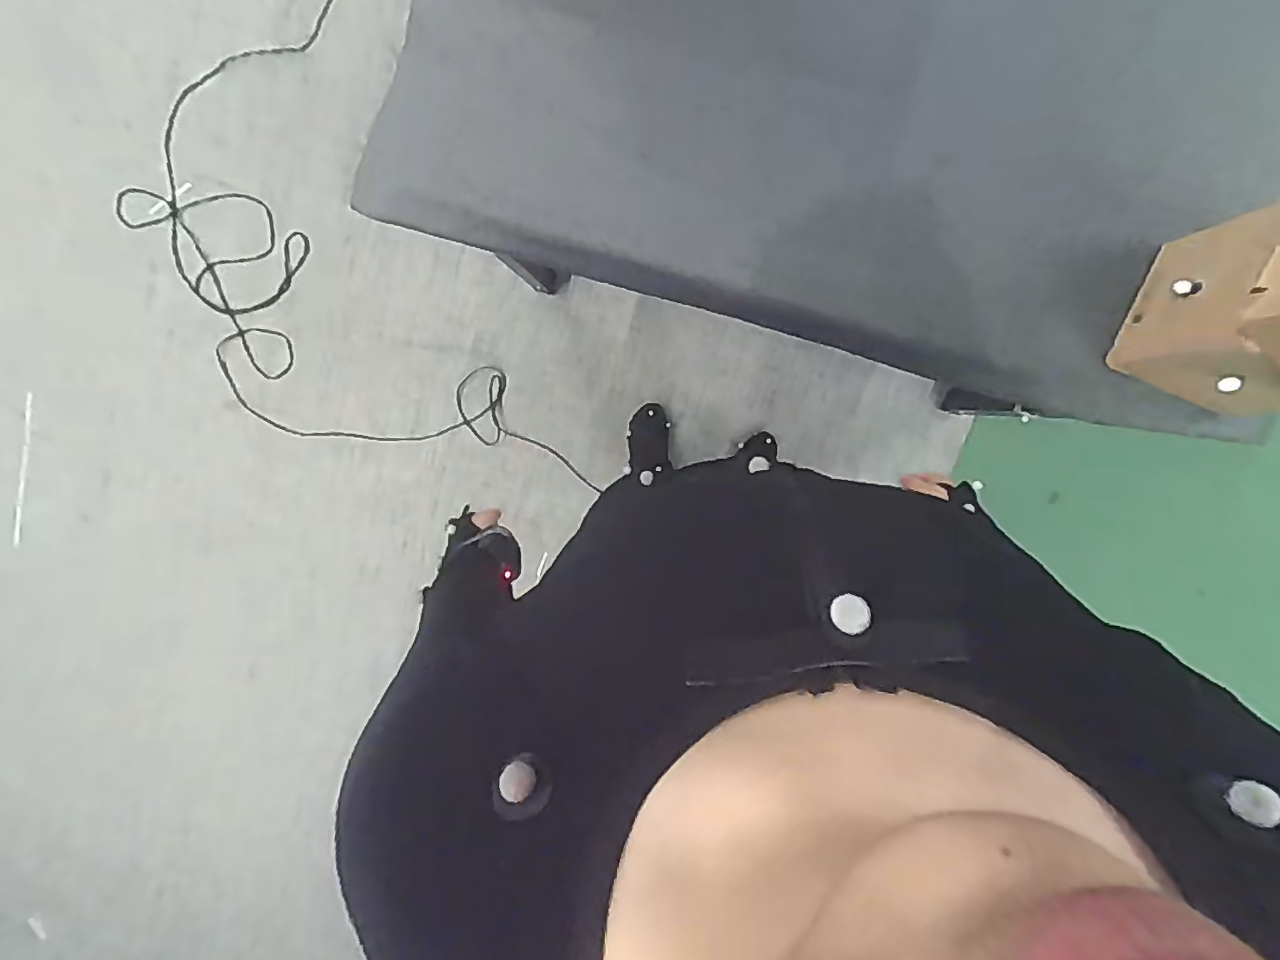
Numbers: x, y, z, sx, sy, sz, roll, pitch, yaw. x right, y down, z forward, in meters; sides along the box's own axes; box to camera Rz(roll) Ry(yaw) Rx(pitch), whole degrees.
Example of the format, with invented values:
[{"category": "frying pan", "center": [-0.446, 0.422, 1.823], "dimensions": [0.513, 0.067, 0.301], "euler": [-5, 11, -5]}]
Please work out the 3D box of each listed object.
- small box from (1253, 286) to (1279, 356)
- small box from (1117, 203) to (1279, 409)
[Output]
[{"category": "small box", "center": [0.702, -0.150, 0.447], "dimensions": [0.179, 0.176, 0.168], "euler": [43, 95, -3]}, {"category": "small box", "center": [0.709, -0.184, 0.608], "dimensions": [0.179, 0.176, 0.168], "euler": [23, 96, 0]}]
